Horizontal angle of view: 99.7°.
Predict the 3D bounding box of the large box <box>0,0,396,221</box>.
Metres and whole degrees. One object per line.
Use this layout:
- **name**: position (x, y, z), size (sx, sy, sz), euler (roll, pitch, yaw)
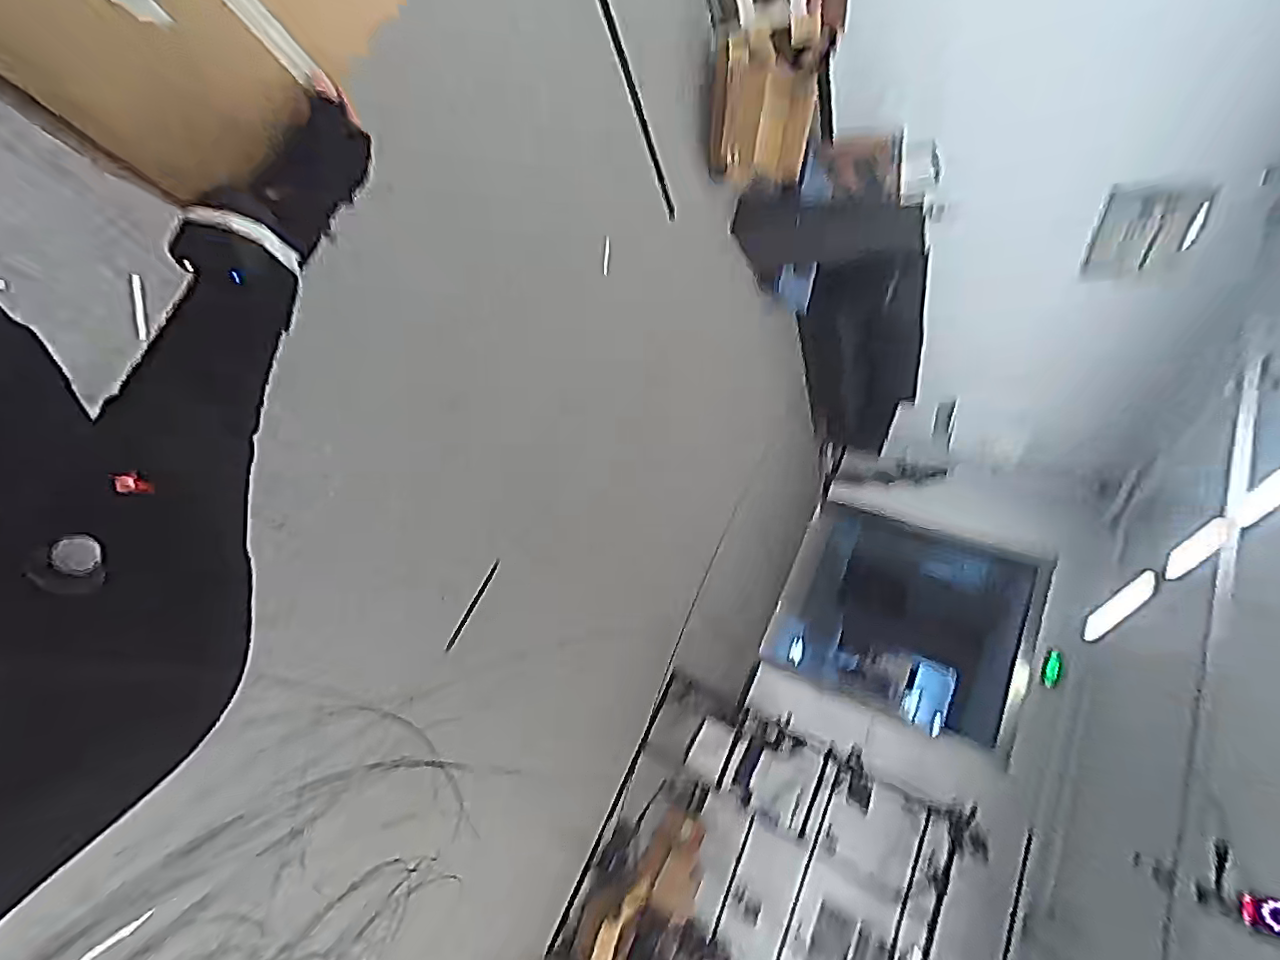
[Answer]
- **large box**: position (-0.483, -0.485, 0.398), size (0.320, 0.320, 0.408), euler (-56, 152, -6)
